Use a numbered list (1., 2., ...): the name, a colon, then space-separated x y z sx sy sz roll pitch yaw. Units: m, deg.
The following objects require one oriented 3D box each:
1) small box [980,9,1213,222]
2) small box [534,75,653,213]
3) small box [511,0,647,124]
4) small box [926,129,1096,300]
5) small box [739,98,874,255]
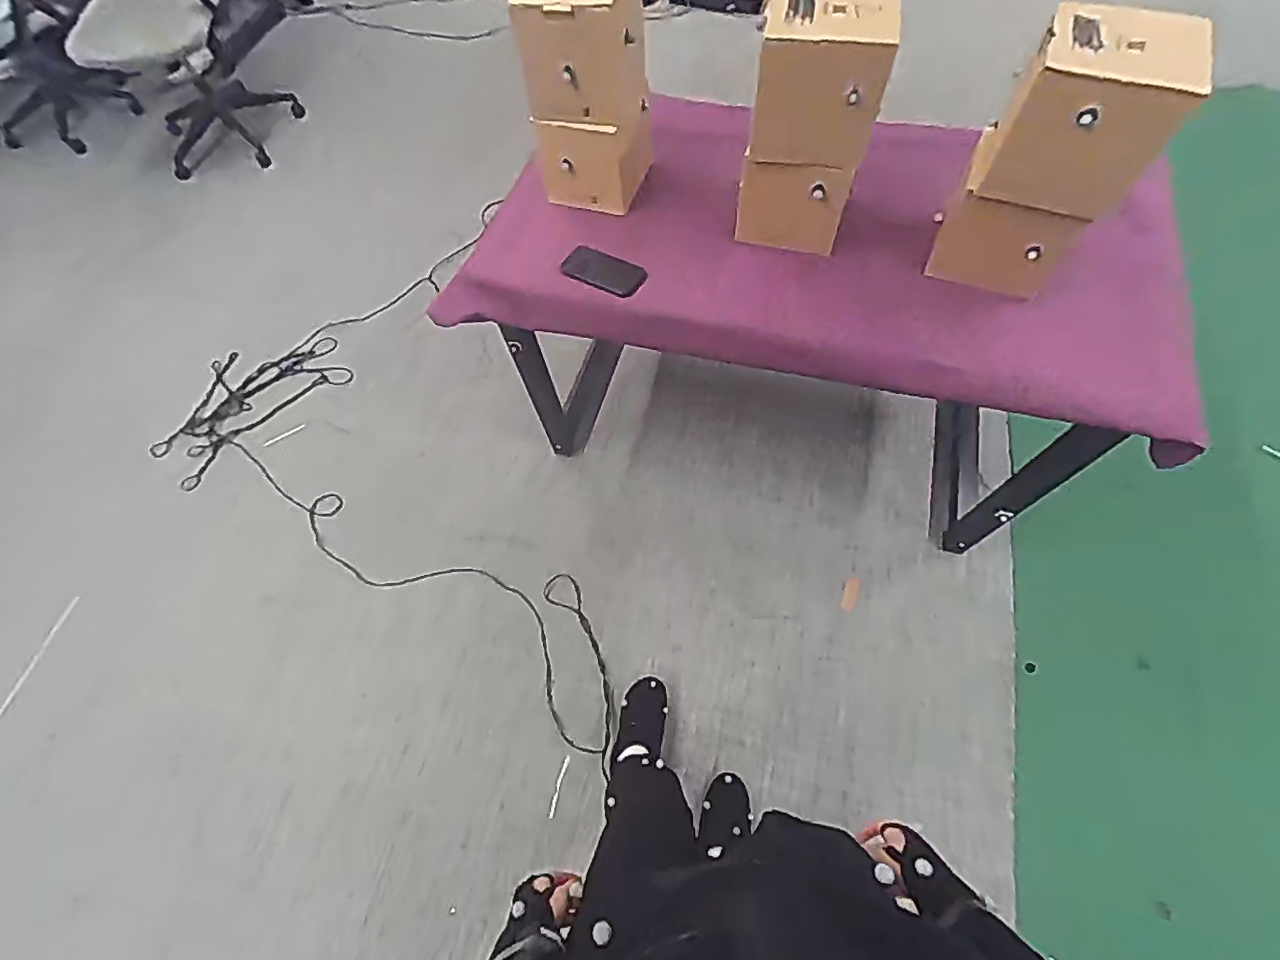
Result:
1. small box: 0.591 -0.477 0.720 0.179 0.176 0.168 22 67 13
2. small box: -0.078 -0.646 1.037 0.168 0.176 0.179 16 66 12
3. small box: -0.087 -0.725 0.893 0.168 0.176 0.179 12 66 9
4. small box: 0.599 -0.421 0.874 0.179 0.176 0.168 22 67 15
5. small box: 0.283 -0.524 0.948 0.179 0.176 0.168 16 66 12
